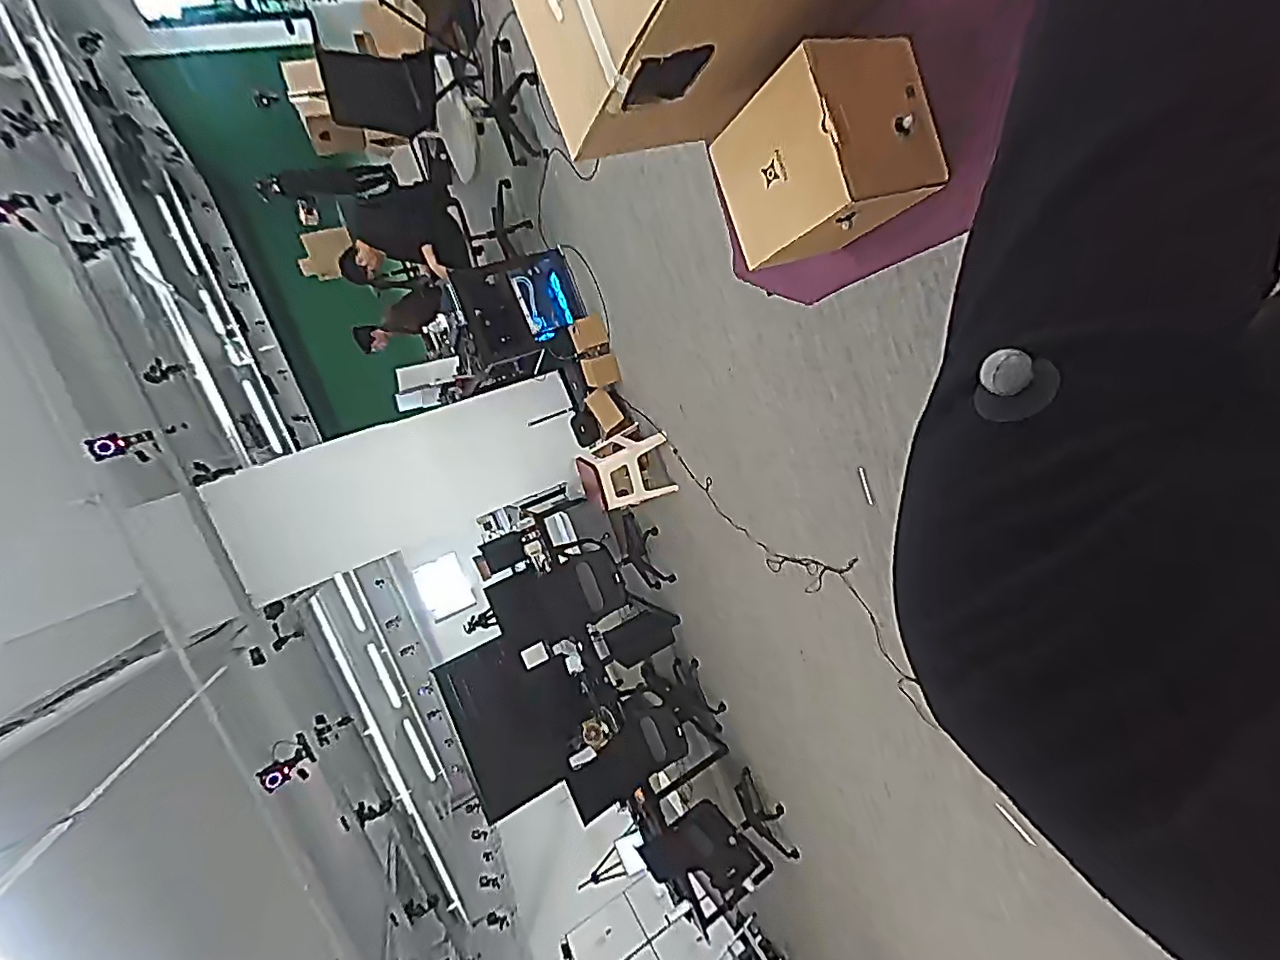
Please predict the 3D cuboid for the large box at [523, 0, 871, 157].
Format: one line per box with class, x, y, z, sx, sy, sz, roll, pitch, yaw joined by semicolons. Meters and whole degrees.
large box;0.039;-0.673;0.611;0.320;0.320;0.408;-3;112;66
